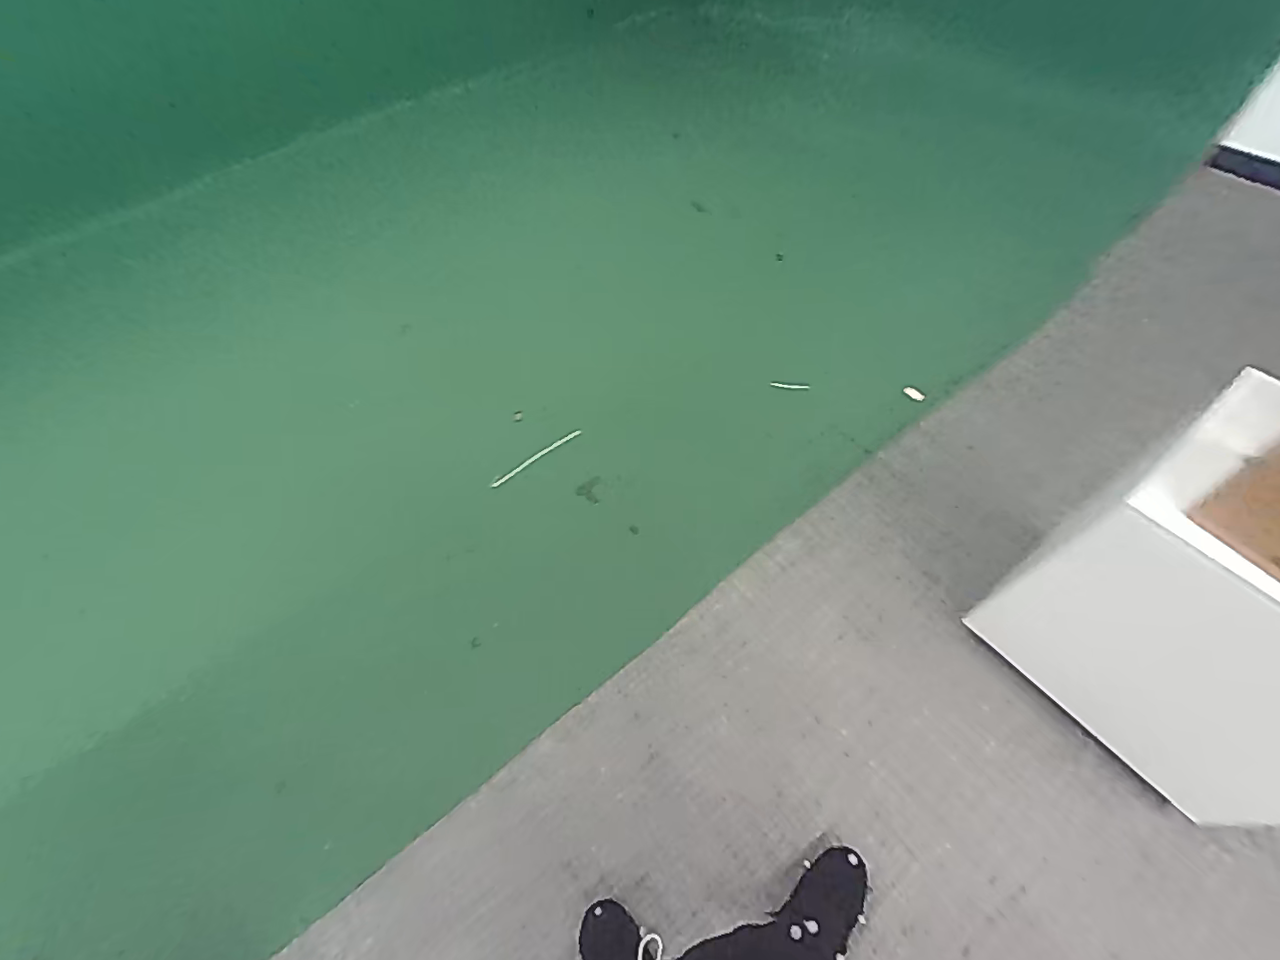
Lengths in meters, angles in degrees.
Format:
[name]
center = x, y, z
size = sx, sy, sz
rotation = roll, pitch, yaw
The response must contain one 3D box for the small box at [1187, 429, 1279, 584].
[small box]
center = 0.870, 0.019, 0.684
size = 0.179, 0.176, 0.168
rotation = -30, 62, -16
